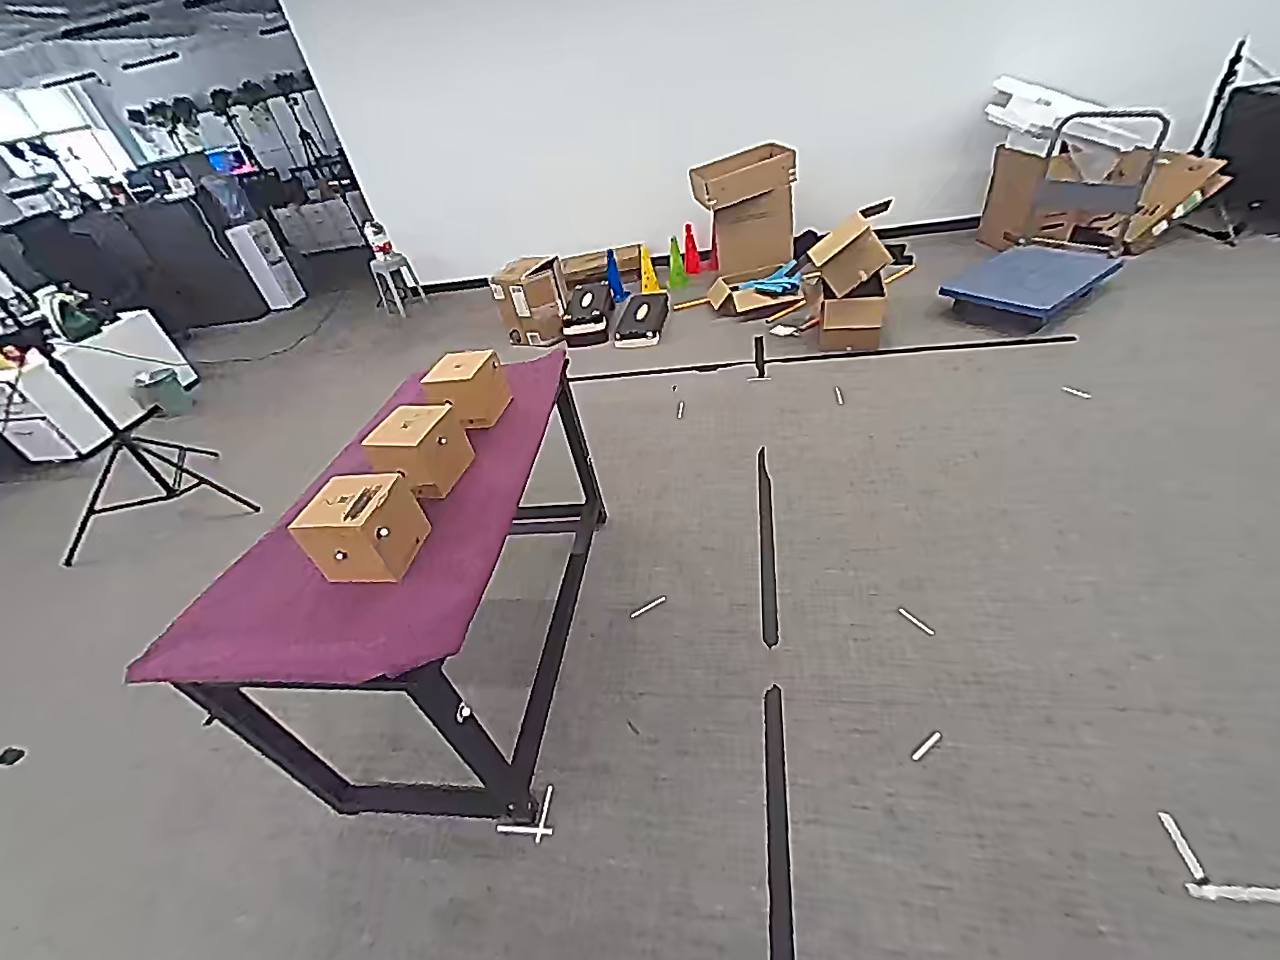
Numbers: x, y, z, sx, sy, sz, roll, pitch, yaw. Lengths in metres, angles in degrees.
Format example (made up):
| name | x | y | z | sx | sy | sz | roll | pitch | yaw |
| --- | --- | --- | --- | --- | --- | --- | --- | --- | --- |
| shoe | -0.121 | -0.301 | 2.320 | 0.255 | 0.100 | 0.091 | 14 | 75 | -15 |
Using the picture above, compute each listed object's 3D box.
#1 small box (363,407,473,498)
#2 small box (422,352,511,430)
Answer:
| name | x | y | z | sx | sy | sz | roll | pitch | yaw |
| --- | --- | --- | --- | --- | --- | --- | --- | --- | --- |
| small box | -0.556 | -0.070 | 1.382 | 0.168 | 0.176 | 0.179 | 3 | 40 | 17 |
| small box | -0.506 | -0.260 | 1.608 | 0.168 | 0.176 | 0.179 | -2 | 39 | 15 |
